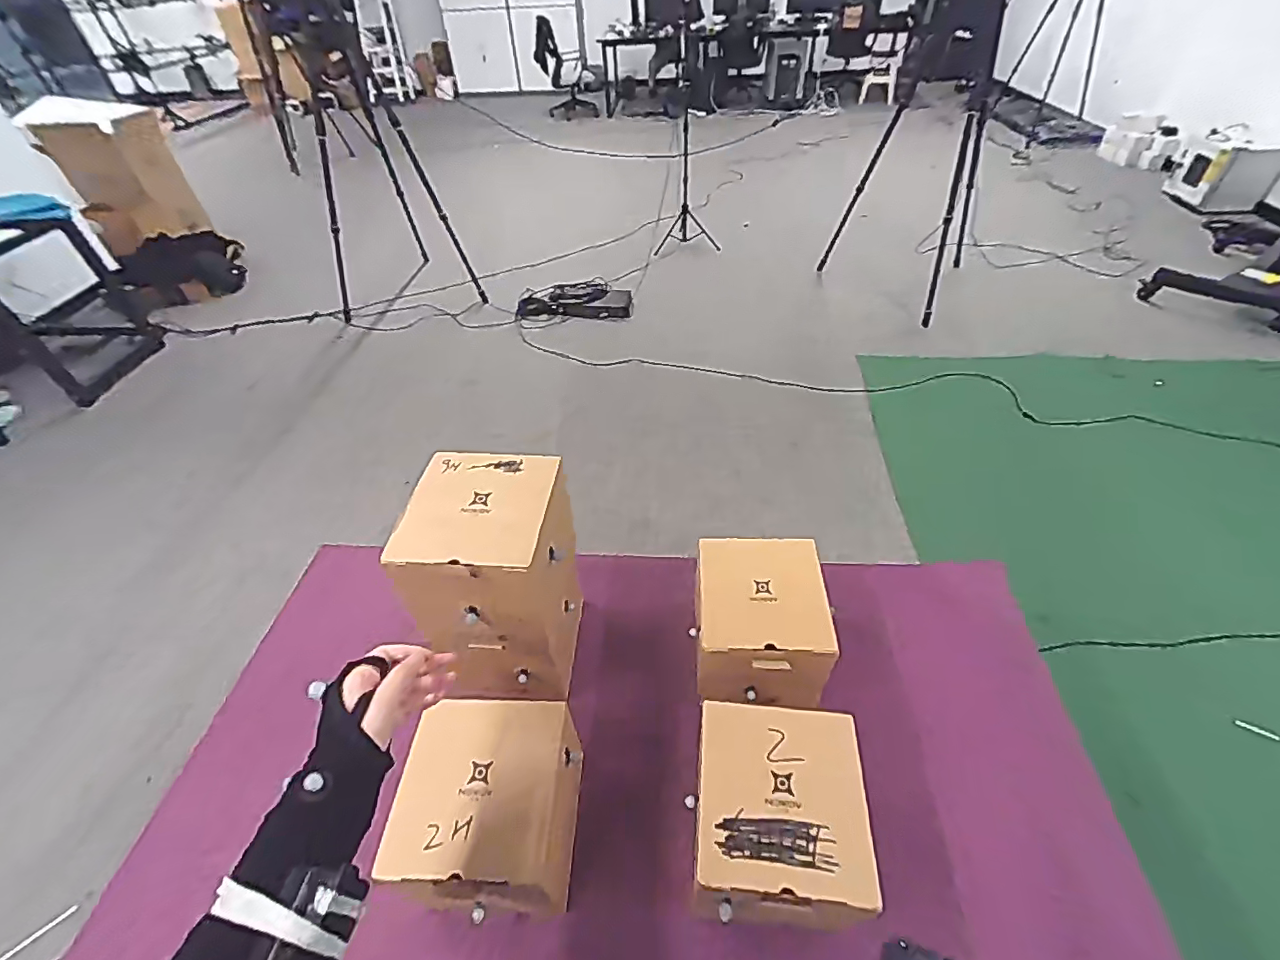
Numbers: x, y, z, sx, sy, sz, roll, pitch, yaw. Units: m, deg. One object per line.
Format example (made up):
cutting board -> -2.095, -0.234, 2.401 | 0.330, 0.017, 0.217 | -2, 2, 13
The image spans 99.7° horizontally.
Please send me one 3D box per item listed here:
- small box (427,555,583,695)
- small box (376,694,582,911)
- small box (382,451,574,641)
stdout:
small box -> -0.182, 0.199, 0.797 | 0.168, 0.176, 0.179 | 2, 45, 5
small box -> -0.164, 0.369, 0.623 | 0.168, 0.176, 0.179 | -1, 45, 4
small box -> -0.183, 0.084, 0.678 | 0.168, 0.176, 0.179 | 2, 46, 5
